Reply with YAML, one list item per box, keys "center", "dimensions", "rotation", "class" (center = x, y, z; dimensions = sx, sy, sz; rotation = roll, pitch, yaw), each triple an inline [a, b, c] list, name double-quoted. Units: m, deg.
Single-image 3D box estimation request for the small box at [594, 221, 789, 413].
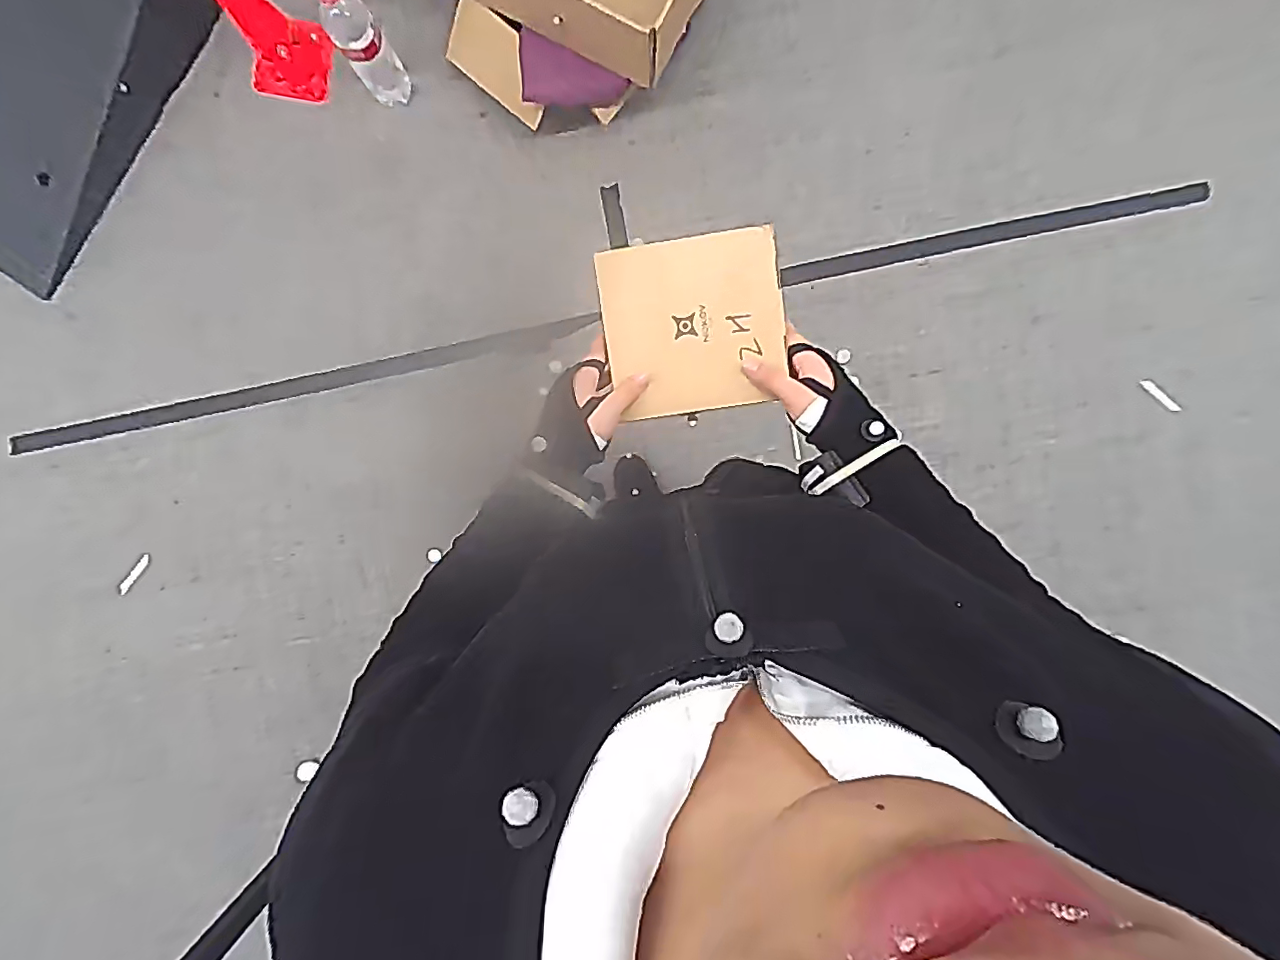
- center: [0.054, -0.165, 0.604]
  dimensions: [0.179, 0.176, 0.168]
  rotation: [-8, 98, 2]
  class: "small box"
